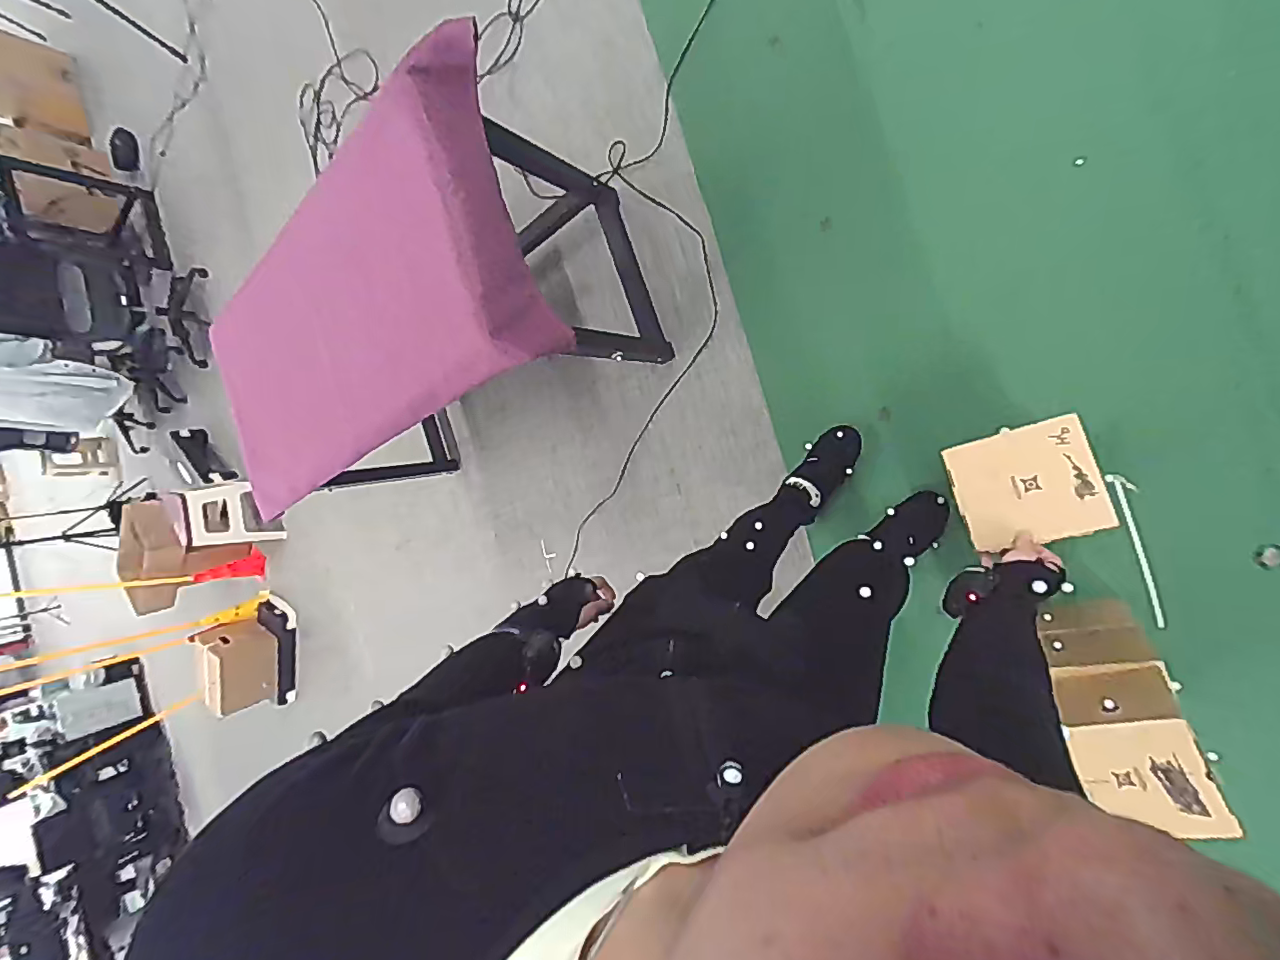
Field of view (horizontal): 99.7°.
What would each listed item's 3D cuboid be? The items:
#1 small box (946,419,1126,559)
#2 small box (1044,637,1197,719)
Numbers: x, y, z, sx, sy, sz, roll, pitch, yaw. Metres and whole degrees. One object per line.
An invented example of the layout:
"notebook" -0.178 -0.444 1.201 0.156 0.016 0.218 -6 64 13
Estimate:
"small box" 0.606 0.019 0.836 0.179 0.176 0.168 -21 77 34
"small box" 0.830 0.386 0.936 0.179 0.176 0.168 -21 85 35
